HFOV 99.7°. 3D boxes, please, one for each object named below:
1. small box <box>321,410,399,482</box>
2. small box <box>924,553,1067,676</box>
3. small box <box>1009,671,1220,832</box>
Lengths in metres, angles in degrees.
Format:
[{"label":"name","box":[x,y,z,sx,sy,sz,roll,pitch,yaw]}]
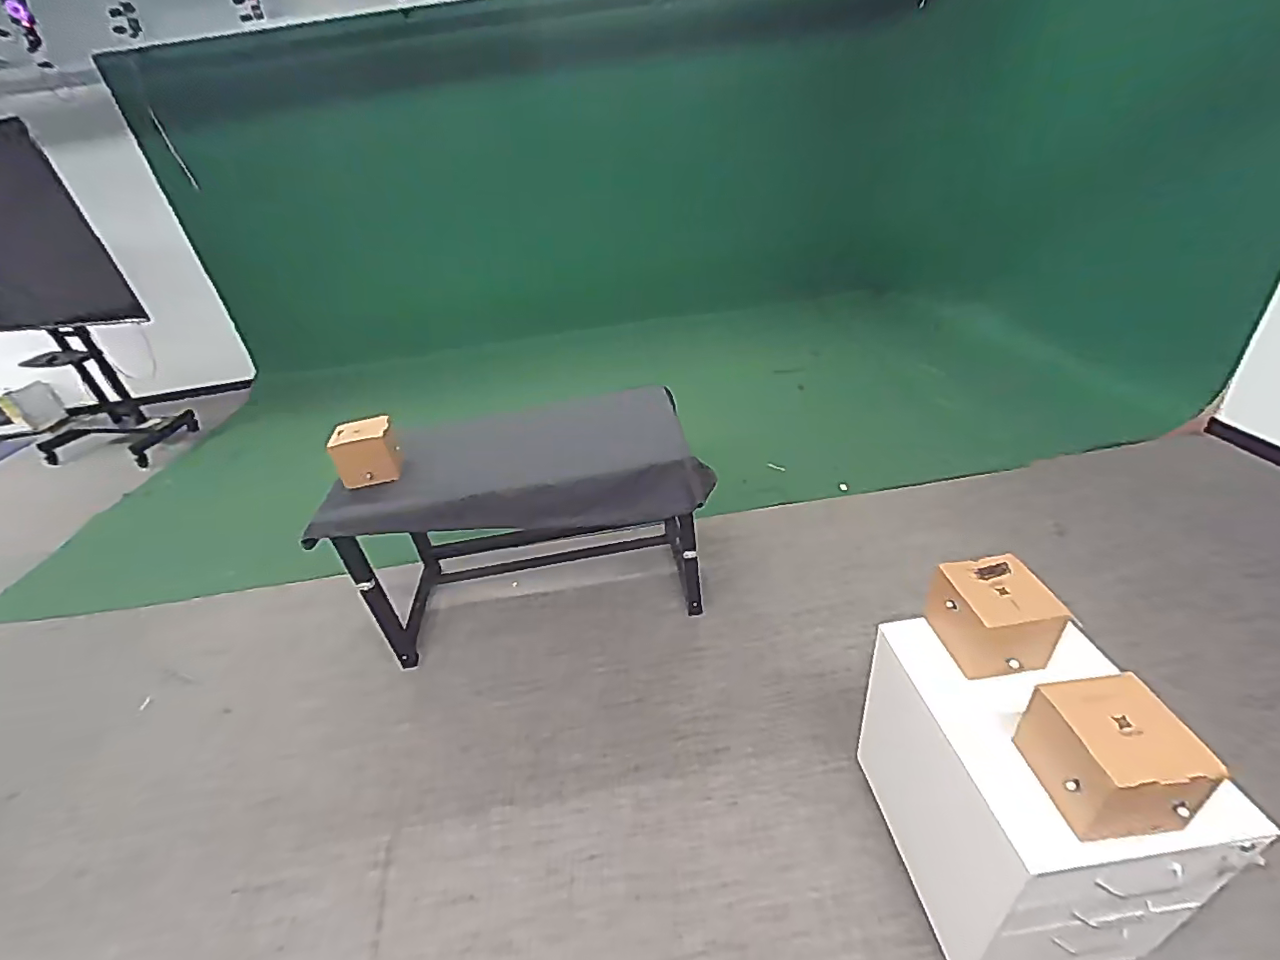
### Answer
[{"label":"small box","box":[-0.929,-0.115,1.815,0.179,0.176,0.168,-12,33,-9]},{"label":"small box","box":[0.728,0.280,1.134,0.168,0.176,0.179,-9,36,-2]},{"label":"small box","box":[0.755,0.447,0.886,0.168,0.176,0.179,-7,32,-1]}]
